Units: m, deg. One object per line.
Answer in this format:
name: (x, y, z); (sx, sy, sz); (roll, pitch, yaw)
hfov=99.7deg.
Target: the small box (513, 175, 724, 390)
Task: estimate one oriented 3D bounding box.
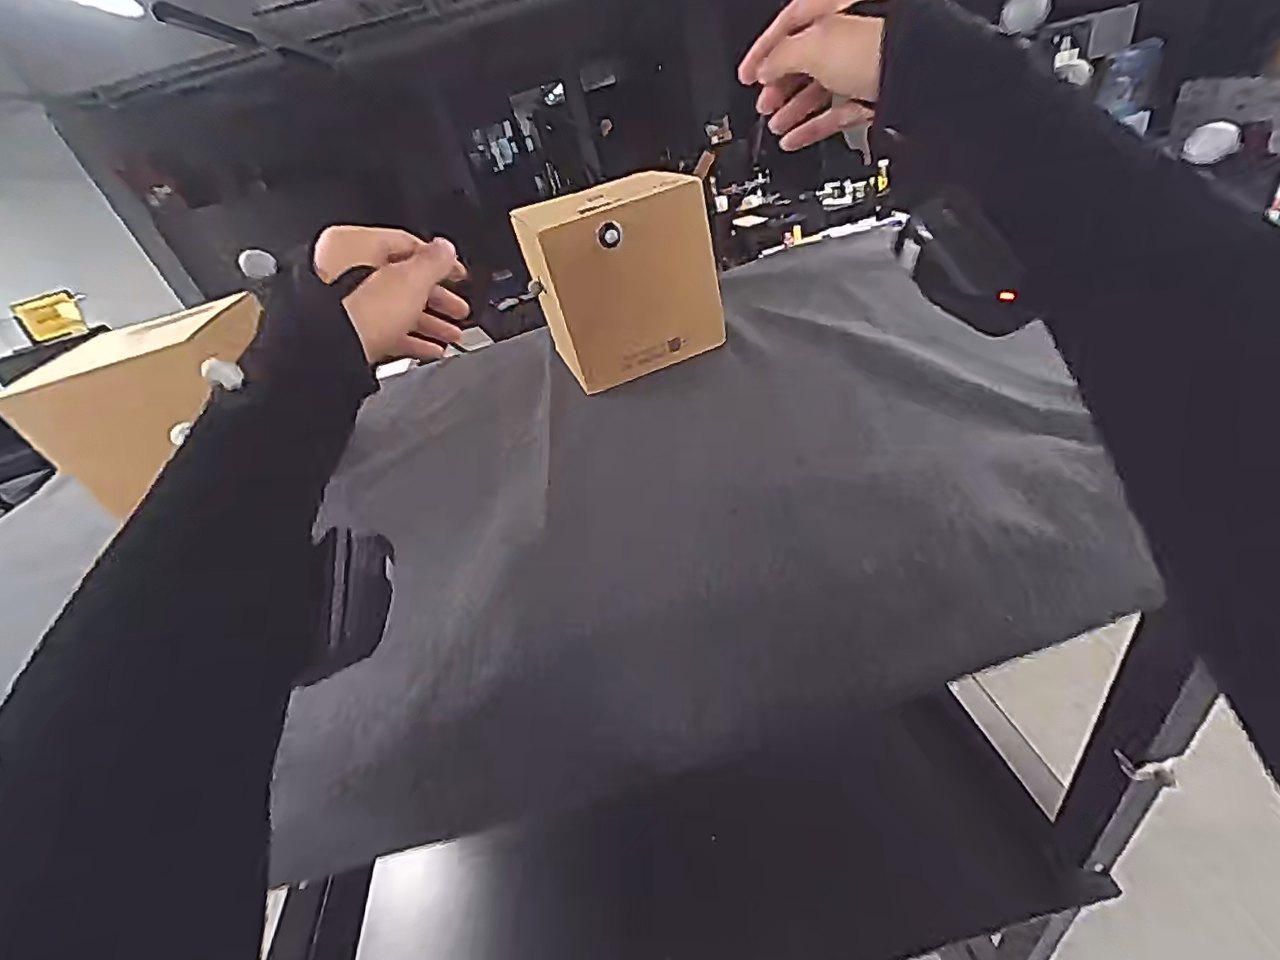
small box: (-0.024, -0.220, 0.597); (0.168, 0.176, 0.179); (-23, 35, -8)
